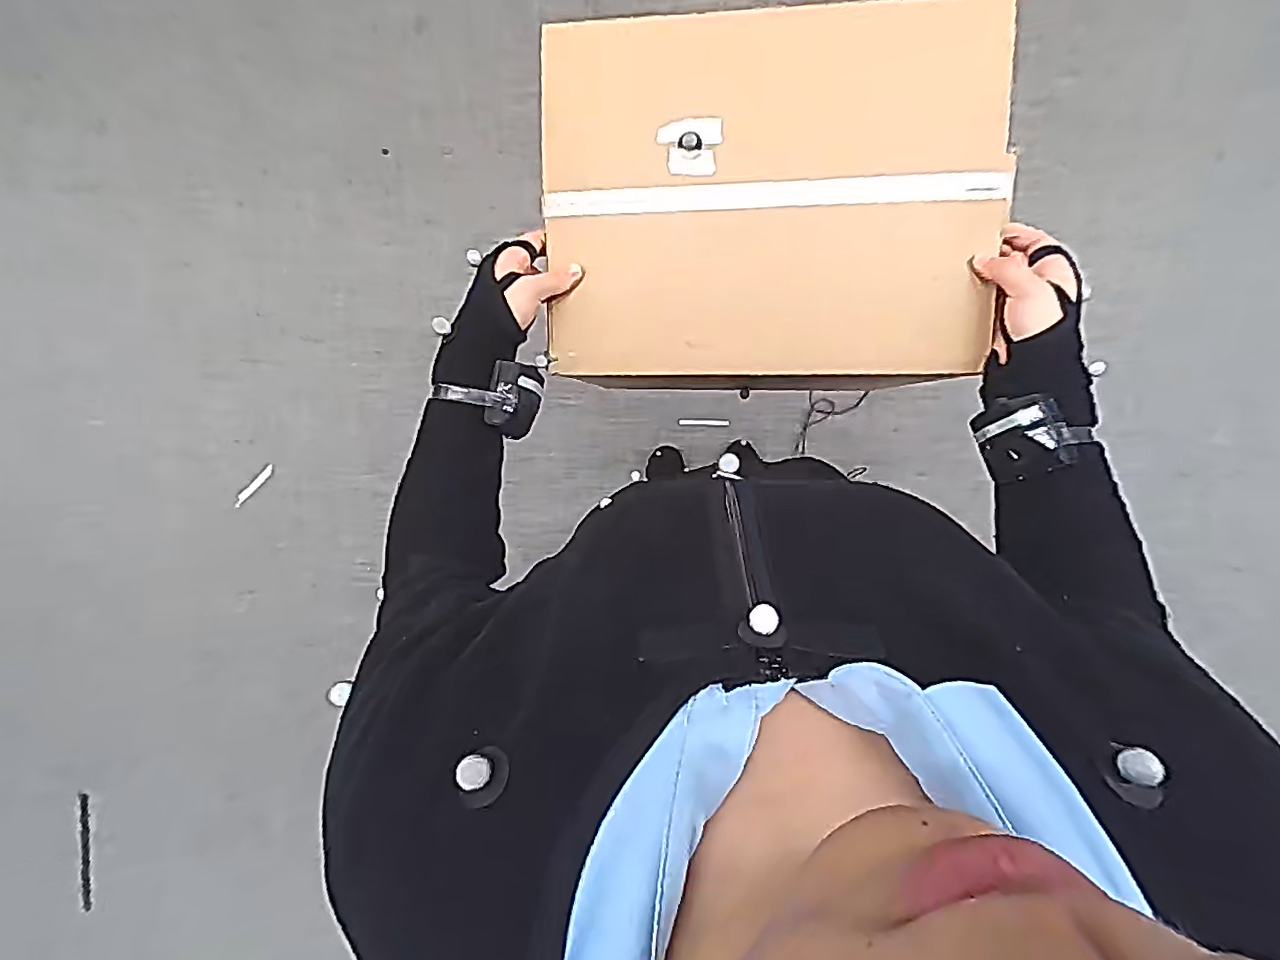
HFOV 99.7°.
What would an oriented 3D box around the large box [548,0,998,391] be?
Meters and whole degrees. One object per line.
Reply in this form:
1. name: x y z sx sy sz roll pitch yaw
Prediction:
1. large box: 0.133 -0.272 0.646 0.408 0.320 0.320 1 95 8
